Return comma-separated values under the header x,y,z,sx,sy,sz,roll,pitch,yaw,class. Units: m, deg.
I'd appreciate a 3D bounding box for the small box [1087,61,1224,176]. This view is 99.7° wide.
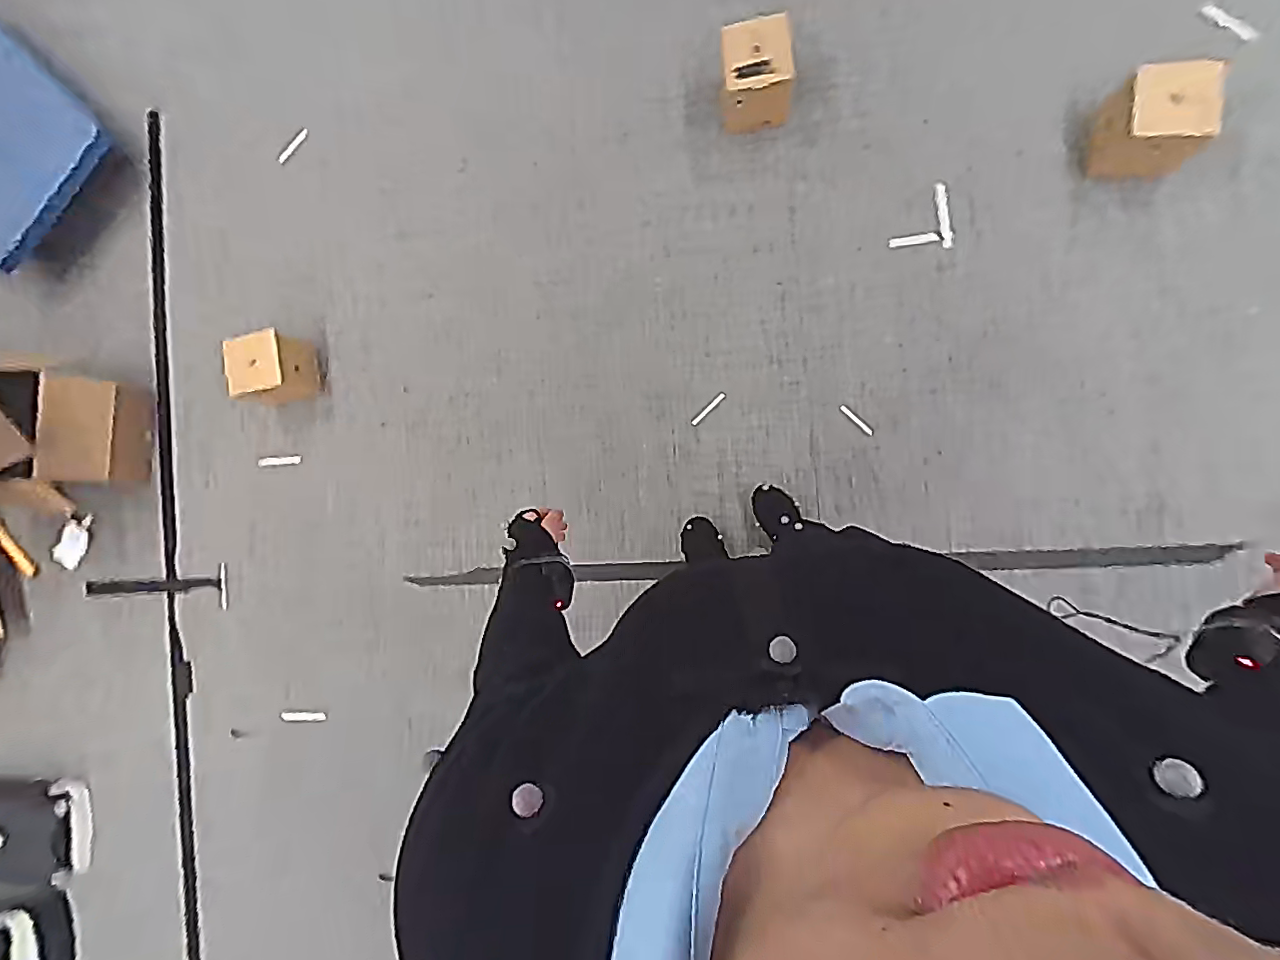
x,y,z,sx,sy,sz,roll,pitch,yaw,class
1.213,-0.851,1.287,0.179,0.176,0.168,5,90,9,small box

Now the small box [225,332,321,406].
x,y,z,sx,sy,sz,roll,pitch,yaw,class
-1.099,-0.331,1.637,0.179,0.176,0.168,-12,87,9,small box
